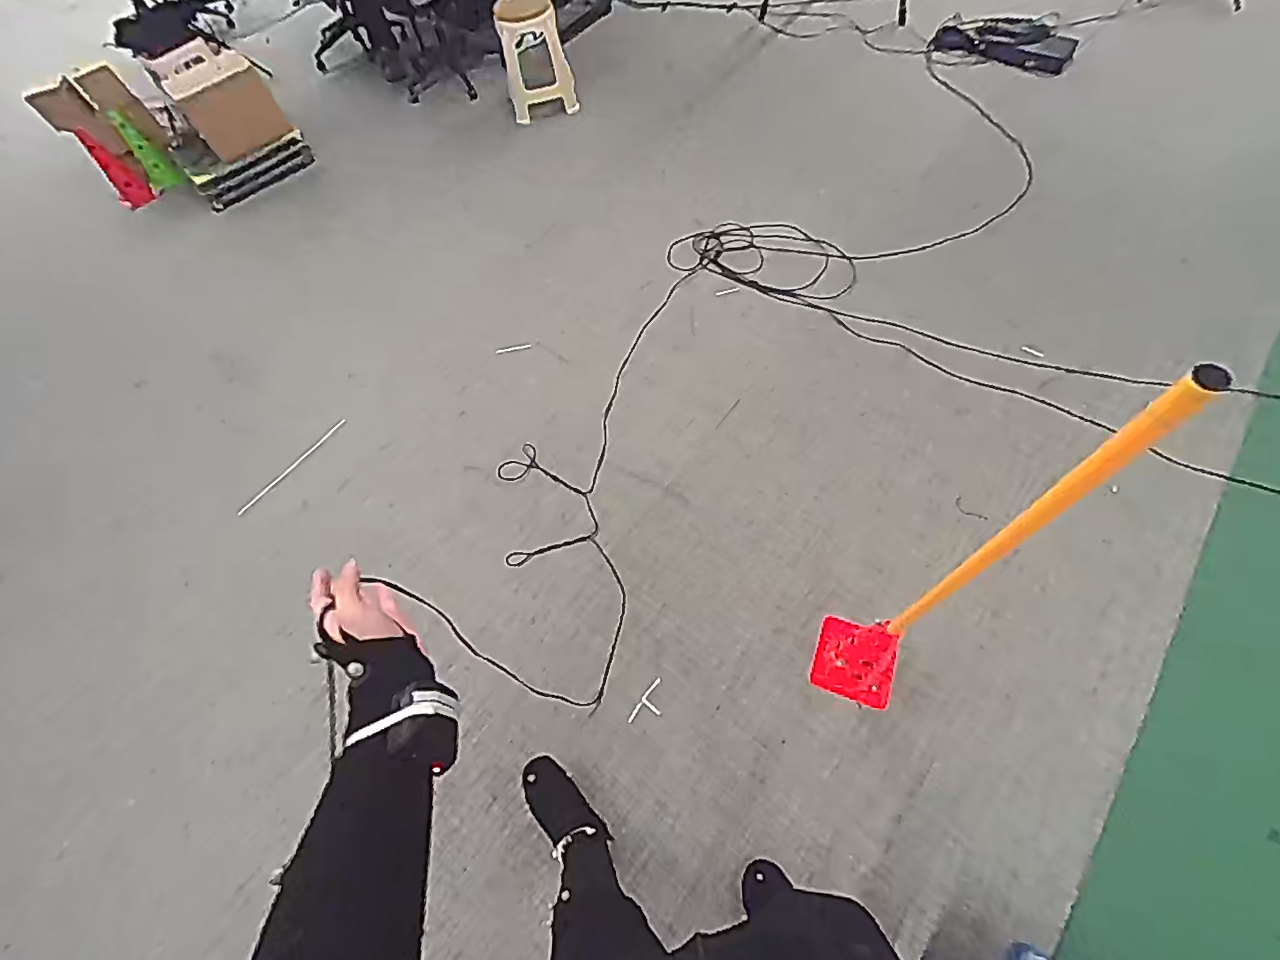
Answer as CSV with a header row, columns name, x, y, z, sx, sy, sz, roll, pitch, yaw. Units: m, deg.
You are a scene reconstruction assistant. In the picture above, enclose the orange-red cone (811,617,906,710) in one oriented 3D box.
name,x,y,z,sx,sy,sz,roll,pitch,yaw
orange-red cone,0.554,0.396,1.285,0.198,0.360,0.199,18,64,16
